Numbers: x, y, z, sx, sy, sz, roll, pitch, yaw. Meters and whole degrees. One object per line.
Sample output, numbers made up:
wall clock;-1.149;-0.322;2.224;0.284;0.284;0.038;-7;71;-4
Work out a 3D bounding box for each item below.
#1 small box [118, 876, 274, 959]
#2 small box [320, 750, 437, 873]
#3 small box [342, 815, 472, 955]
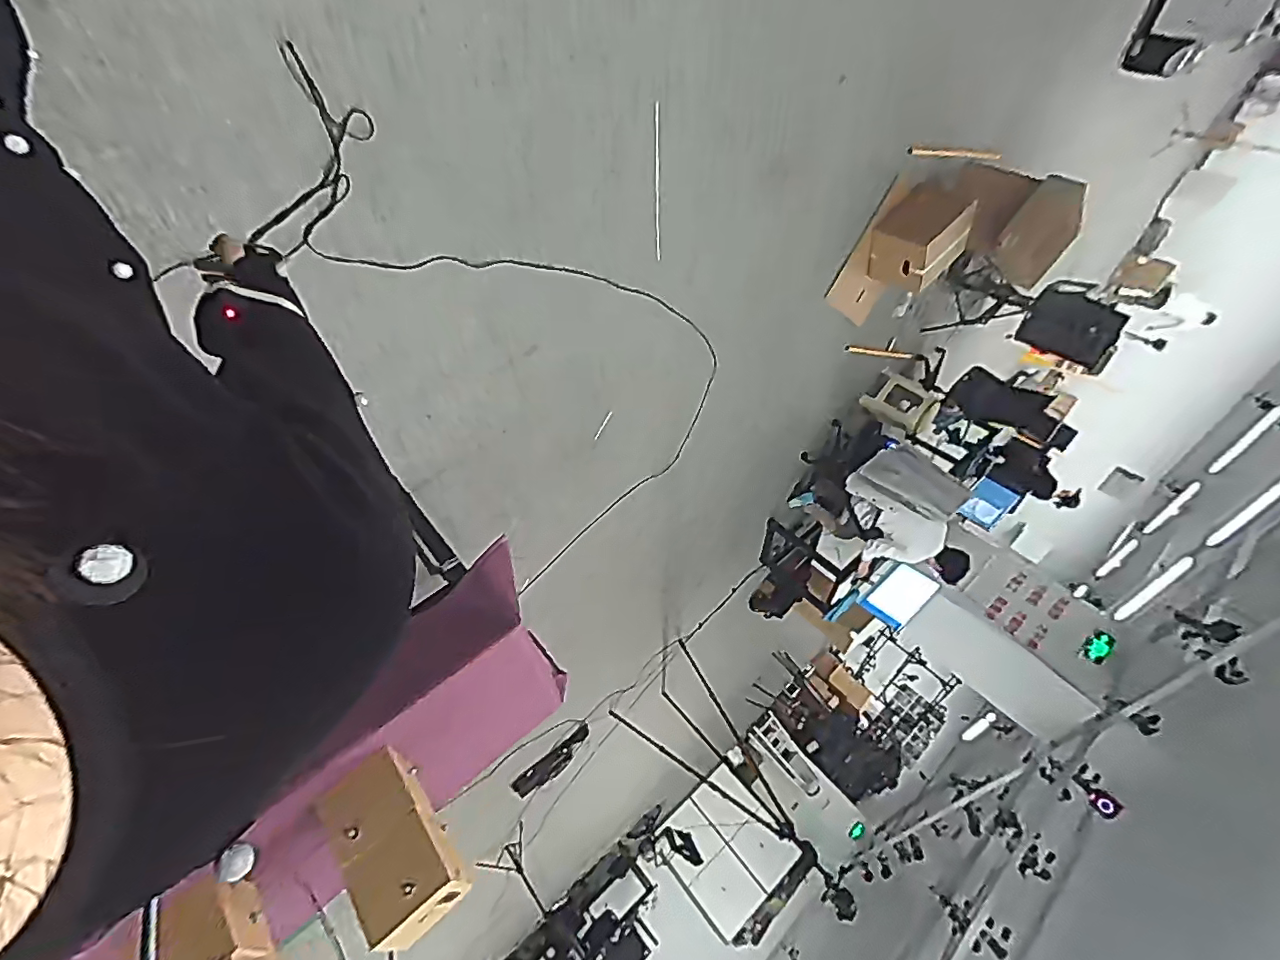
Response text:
small box;-0.882;0.941;1.080;0.179;0.176;0.168;-30;143;-28
small box;-0.604;0.767;1.241;0.179;0.176;0.168;-33;145;-25
small box;-0.497;0.862;1.160;0.179;0.176;0.168;-34;145;-22
